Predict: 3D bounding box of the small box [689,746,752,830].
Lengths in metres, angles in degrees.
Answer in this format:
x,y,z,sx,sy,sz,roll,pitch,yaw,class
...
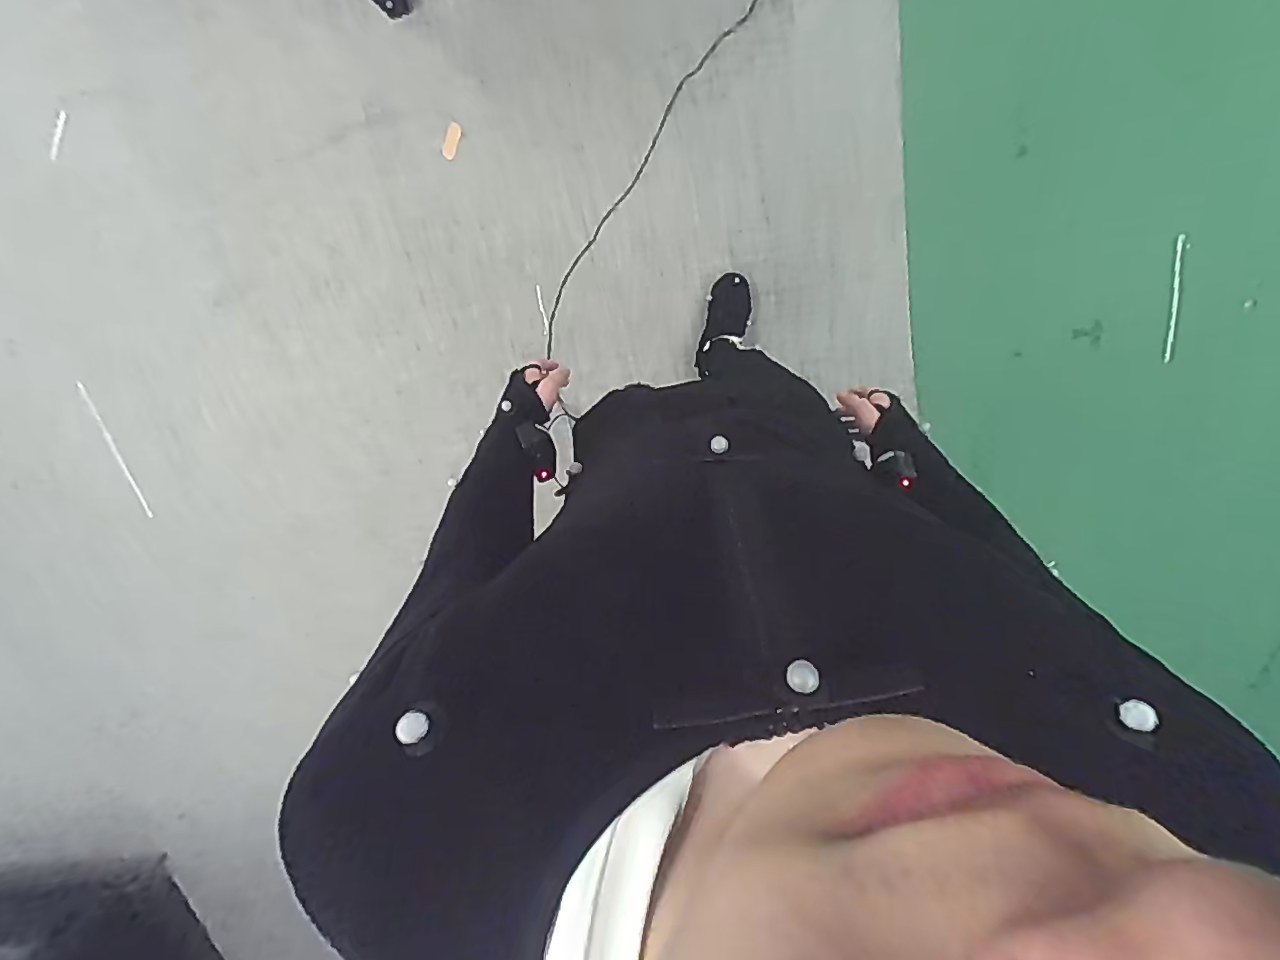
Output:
x,y,z,sx,sy,sz,roll,pitch,yaw,class
0.252,0.969,1.708,0.179,0.176,0.168,-7,107,6,small box

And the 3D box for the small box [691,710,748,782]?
x,y,z,sx,sy,sz,roll,pitch,yaw,class
0.271,0.916,1.860,0.179,0.176,0.168,-7,108,7,small box
